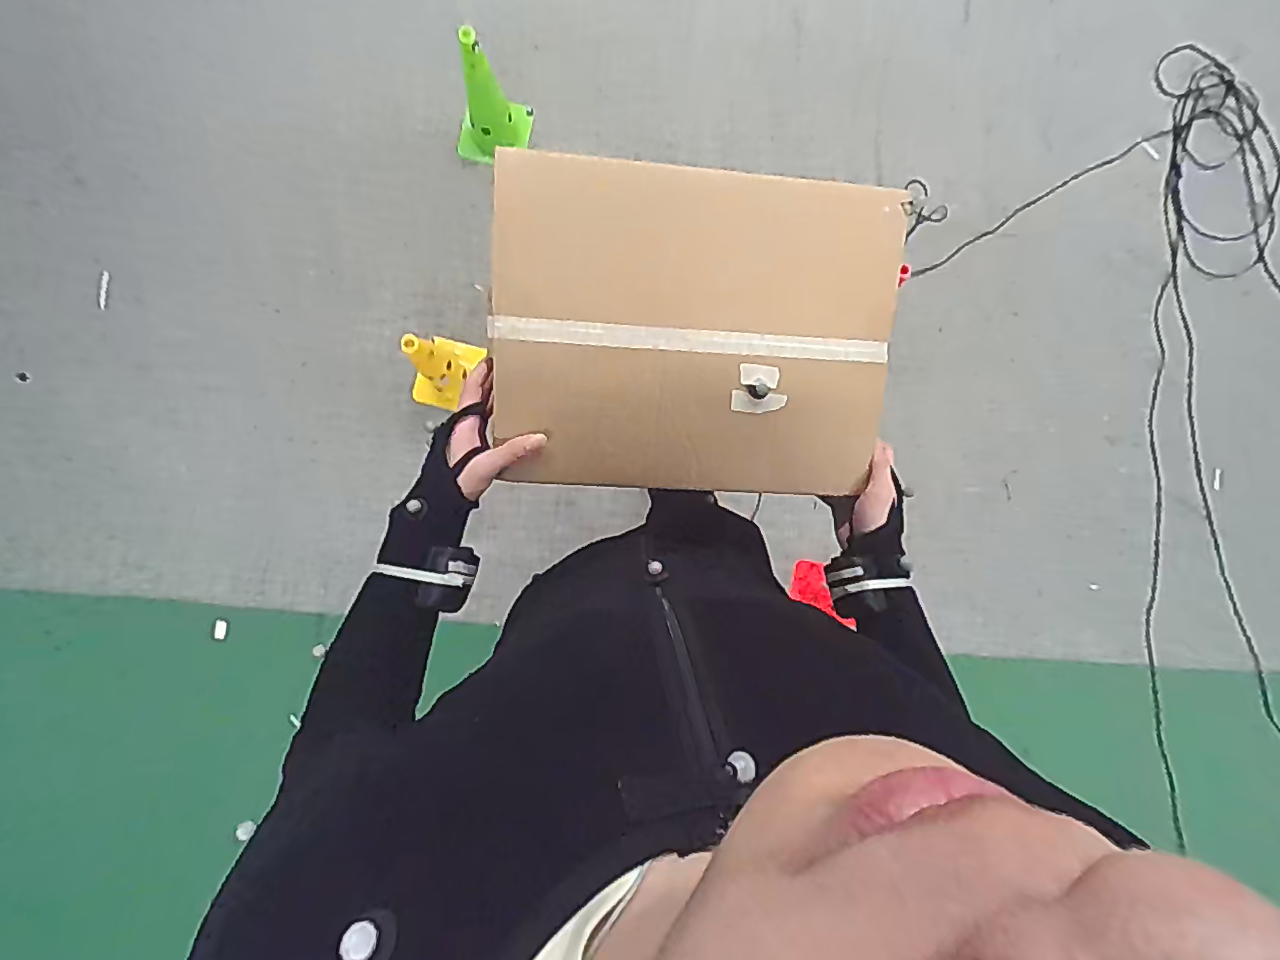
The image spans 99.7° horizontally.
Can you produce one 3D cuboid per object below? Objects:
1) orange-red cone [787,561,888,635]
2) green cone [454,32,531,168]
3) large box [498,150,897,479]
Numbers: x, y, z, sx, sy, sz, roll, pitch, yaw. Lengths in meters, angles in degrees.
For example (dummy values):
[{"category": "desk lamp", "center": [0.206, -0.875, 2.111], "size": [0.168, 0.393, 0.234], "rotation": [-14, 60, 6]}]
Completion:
[{"category": "orange-red cone", "center": [0.568, 0.354, 1.471], "size": [0.199, 0.360, 0.198], "rotation": [12, 88, -4]}, {"category": "green cone", "center": [-0.434, -1.047, 1.459], "size": [0.200, 0.368, 0.202], "rotation": [11, 89, -3]}, {"category": "large box", "center": [0.041, -0.185, 0.700], "size": [0.408, 0.320, 0.320], "rotation": [2, 103, -7]}]
